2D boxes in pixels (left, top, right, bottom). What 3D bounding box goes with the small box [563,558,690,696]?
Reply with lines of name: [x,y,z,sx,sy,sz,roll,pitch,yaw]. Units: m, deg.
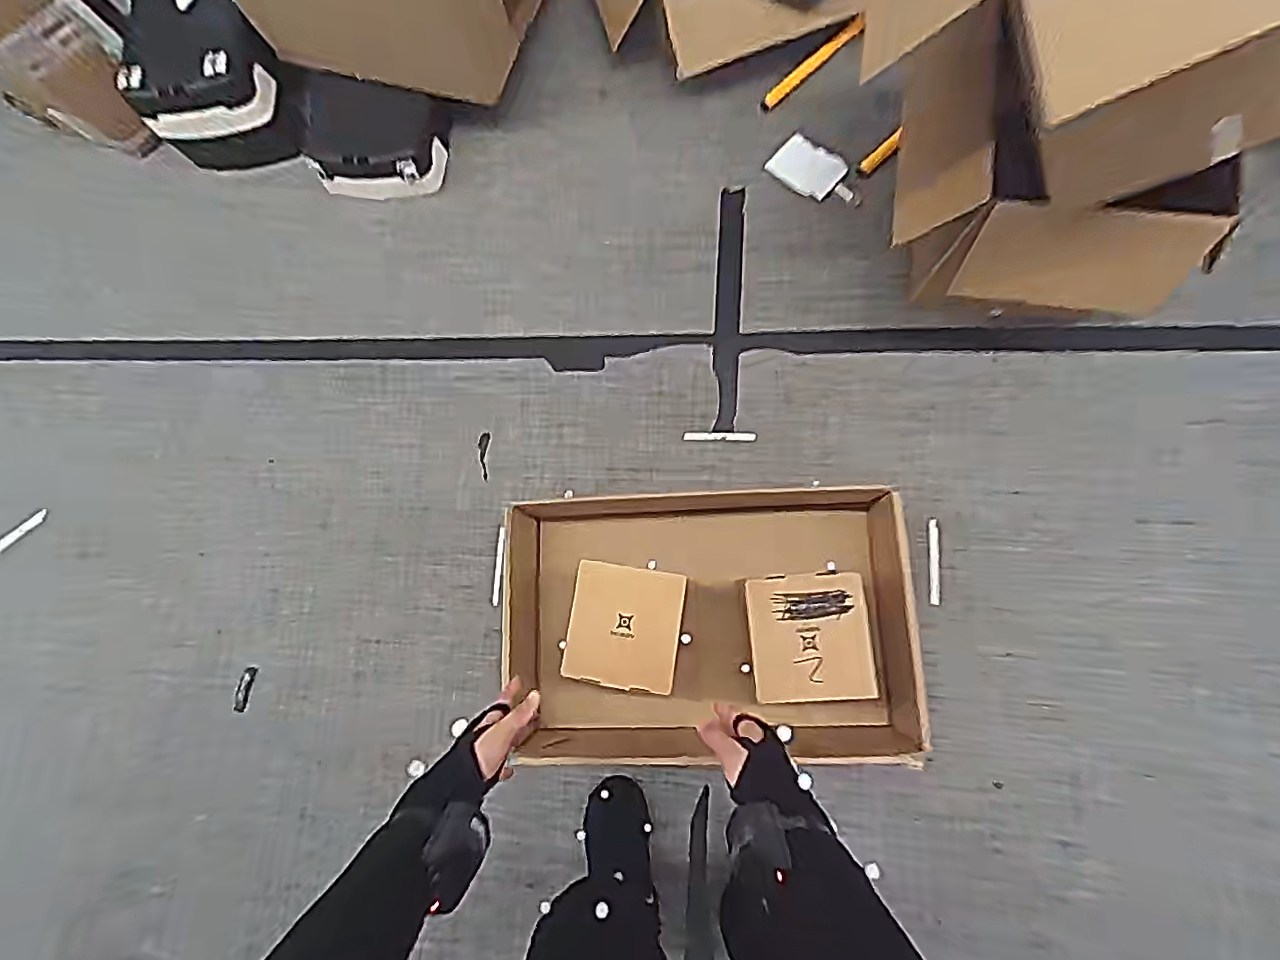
small box: [-0.014,0.227,0.869,0.168,0.176,0.179,7,81,6]
